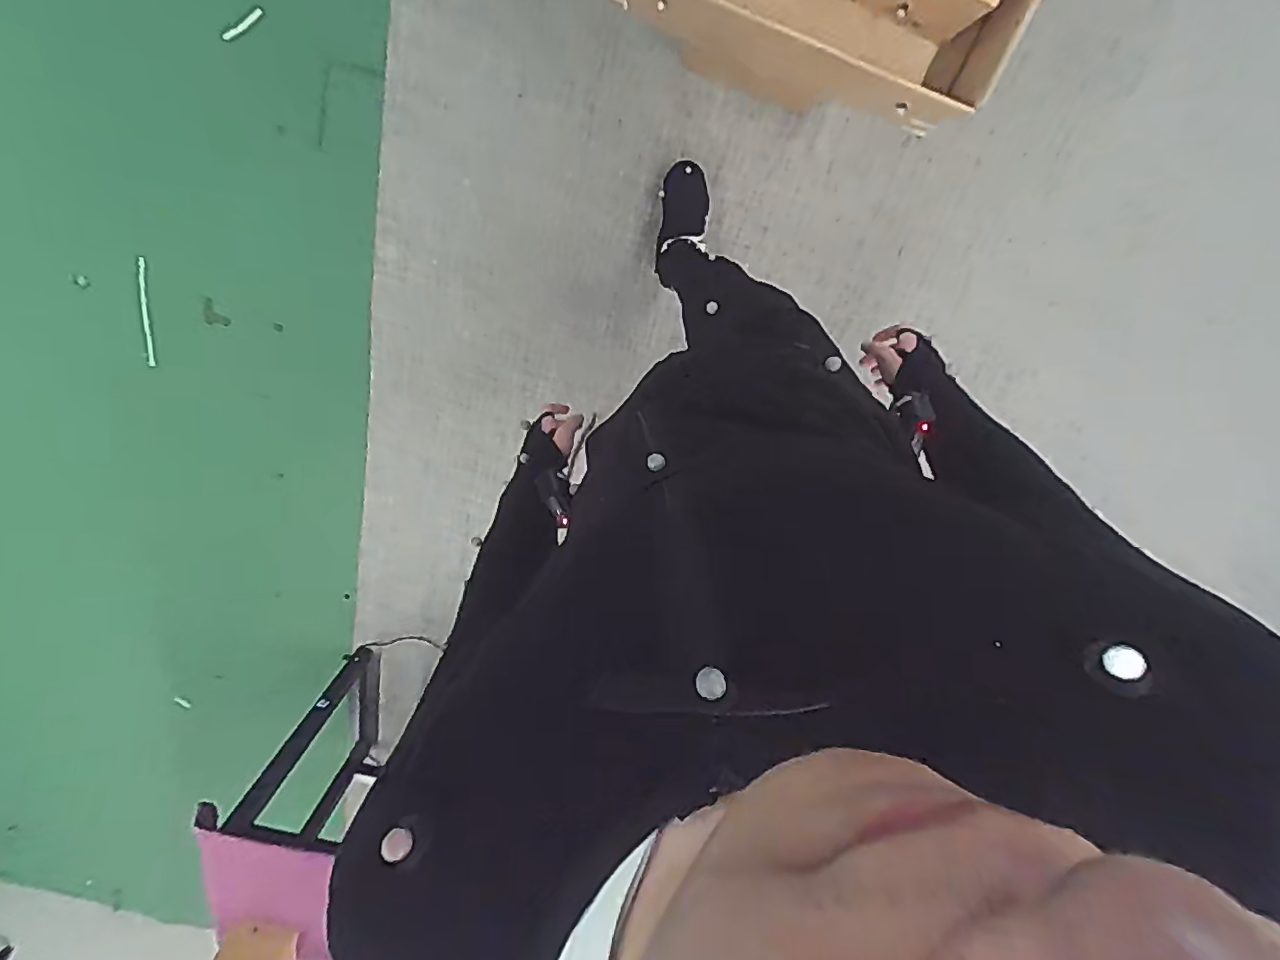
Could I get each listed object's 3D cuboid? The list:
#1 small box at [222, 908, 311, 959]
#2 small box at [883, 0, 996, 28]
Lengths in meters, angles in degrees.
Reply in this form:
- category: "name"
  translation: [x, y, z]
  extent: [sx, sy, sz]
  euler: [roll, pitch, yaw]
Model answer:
- category: "small box"
  translation: [-1.046, 1.343, 1.503]
  extent: [0.168, 0.176, 0.179]
  euler: [15, 115, -3]
- category: "small box"
  translation: [0.444, -0.779, 0.745]
  extent: [0.168, 0.176, 0.179]
  euler: [19, 116, -5]
